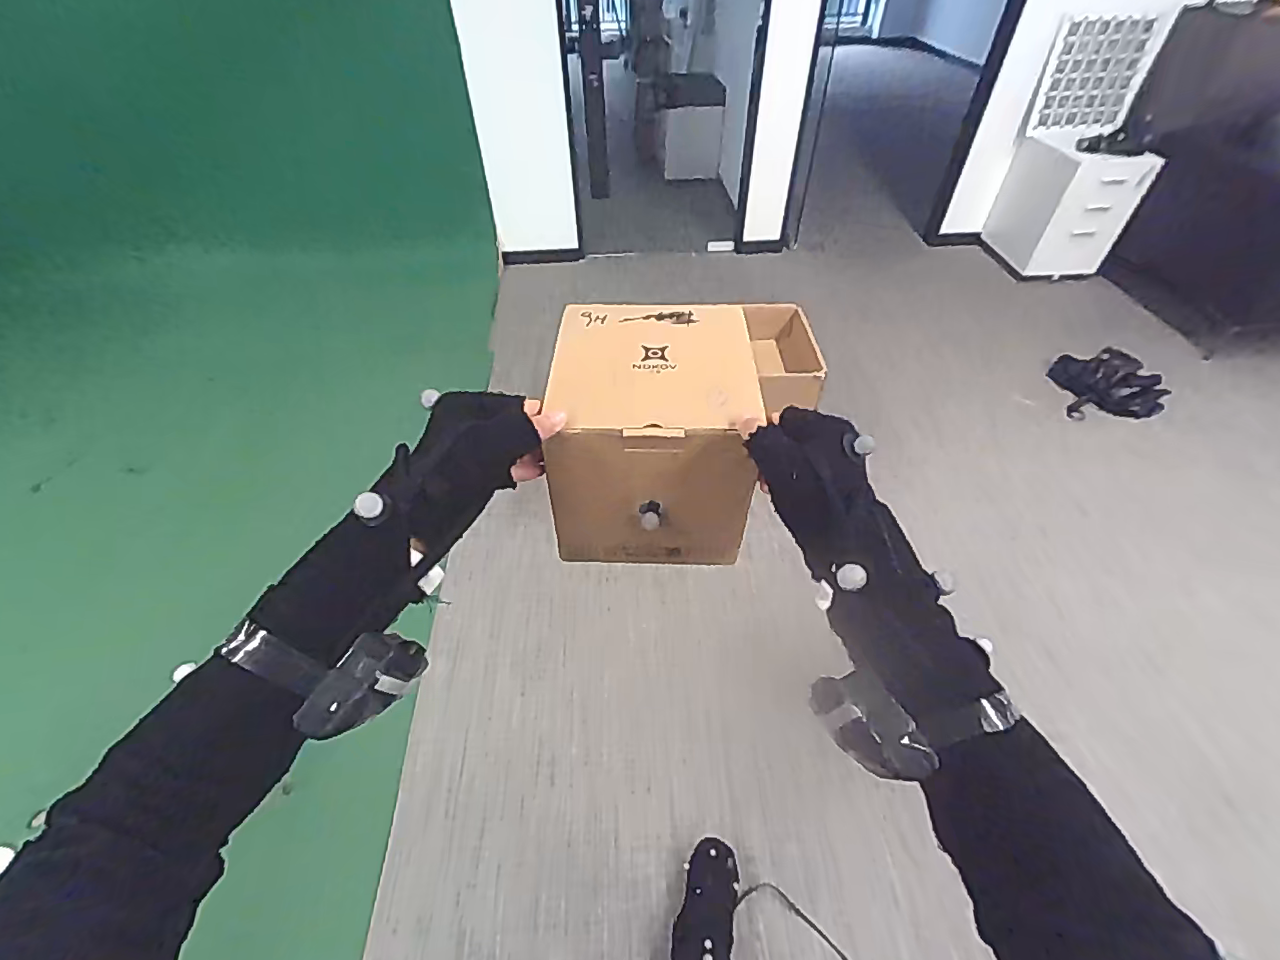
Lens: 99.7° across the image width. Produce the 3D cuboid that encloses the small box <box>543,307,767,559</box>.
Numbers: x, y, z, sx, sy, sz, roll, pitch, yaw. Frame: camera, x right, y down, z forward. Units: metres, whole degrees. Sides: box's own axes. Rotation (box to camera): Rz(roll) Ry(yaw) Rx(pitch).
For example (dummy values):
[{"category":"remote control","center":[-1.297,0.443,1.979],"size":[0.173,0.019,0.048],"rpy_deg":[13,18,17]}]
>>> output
[{"category":"small box","center":[0.014,-0.041,0.502],"size":[0.168,0.176,0.179],"rpy_deg":[1,47,1]}]
